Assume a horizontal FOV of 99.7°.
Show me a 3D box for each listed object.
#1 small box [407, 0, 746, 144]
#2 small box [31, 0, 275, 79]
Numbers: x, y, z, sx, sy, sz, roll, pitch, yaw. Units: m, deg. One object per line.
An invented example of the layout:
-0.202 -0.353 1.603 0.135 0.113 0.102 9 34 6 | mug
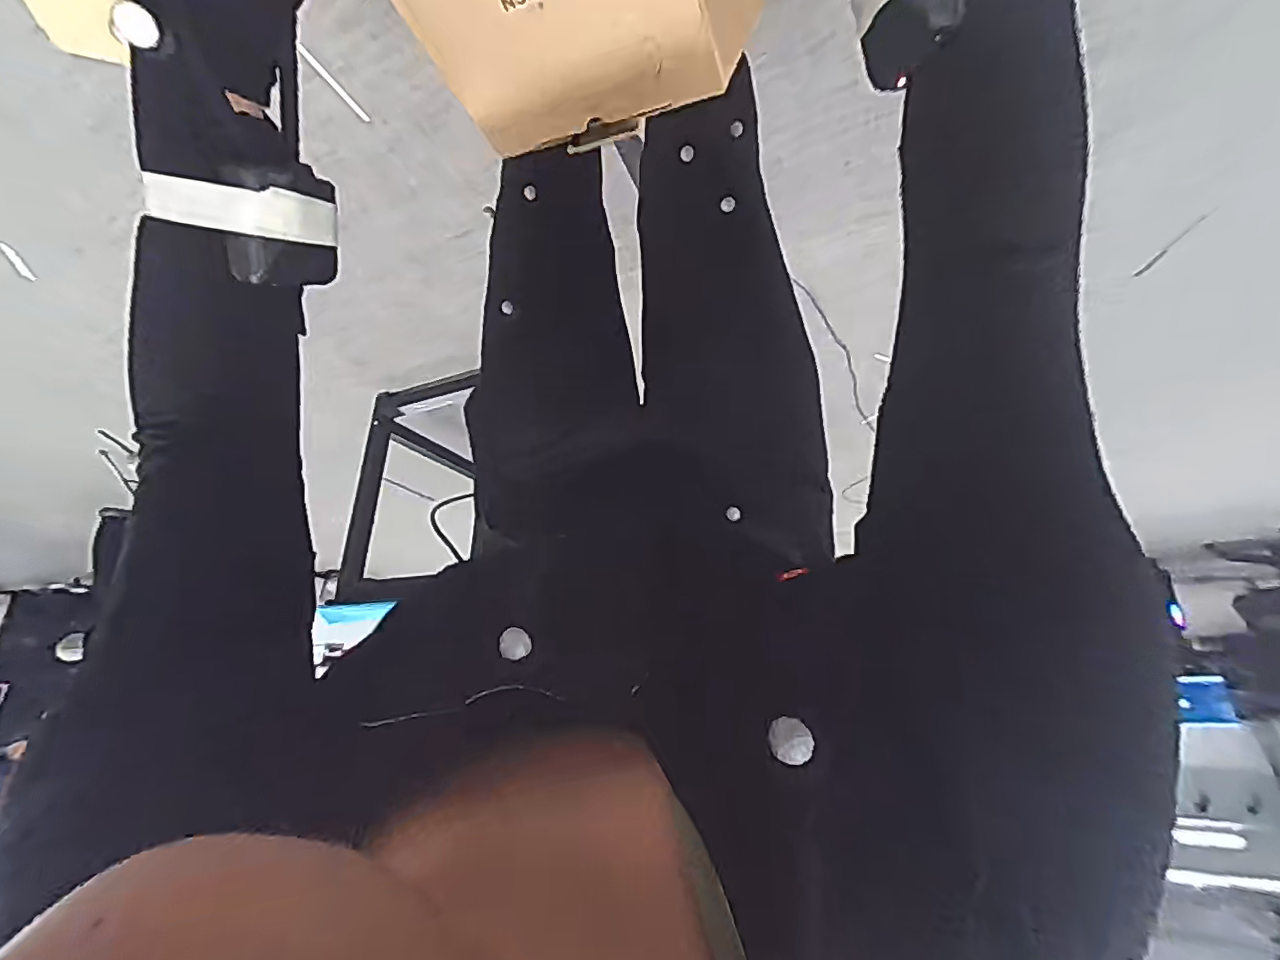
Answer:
-0.033 -0.332 0.294 0.168 0.176 0.179 7 158 29 | small box
-0.517 -0.559 0.554 0.179 0.176 0.168 6 158 -12 | small box
